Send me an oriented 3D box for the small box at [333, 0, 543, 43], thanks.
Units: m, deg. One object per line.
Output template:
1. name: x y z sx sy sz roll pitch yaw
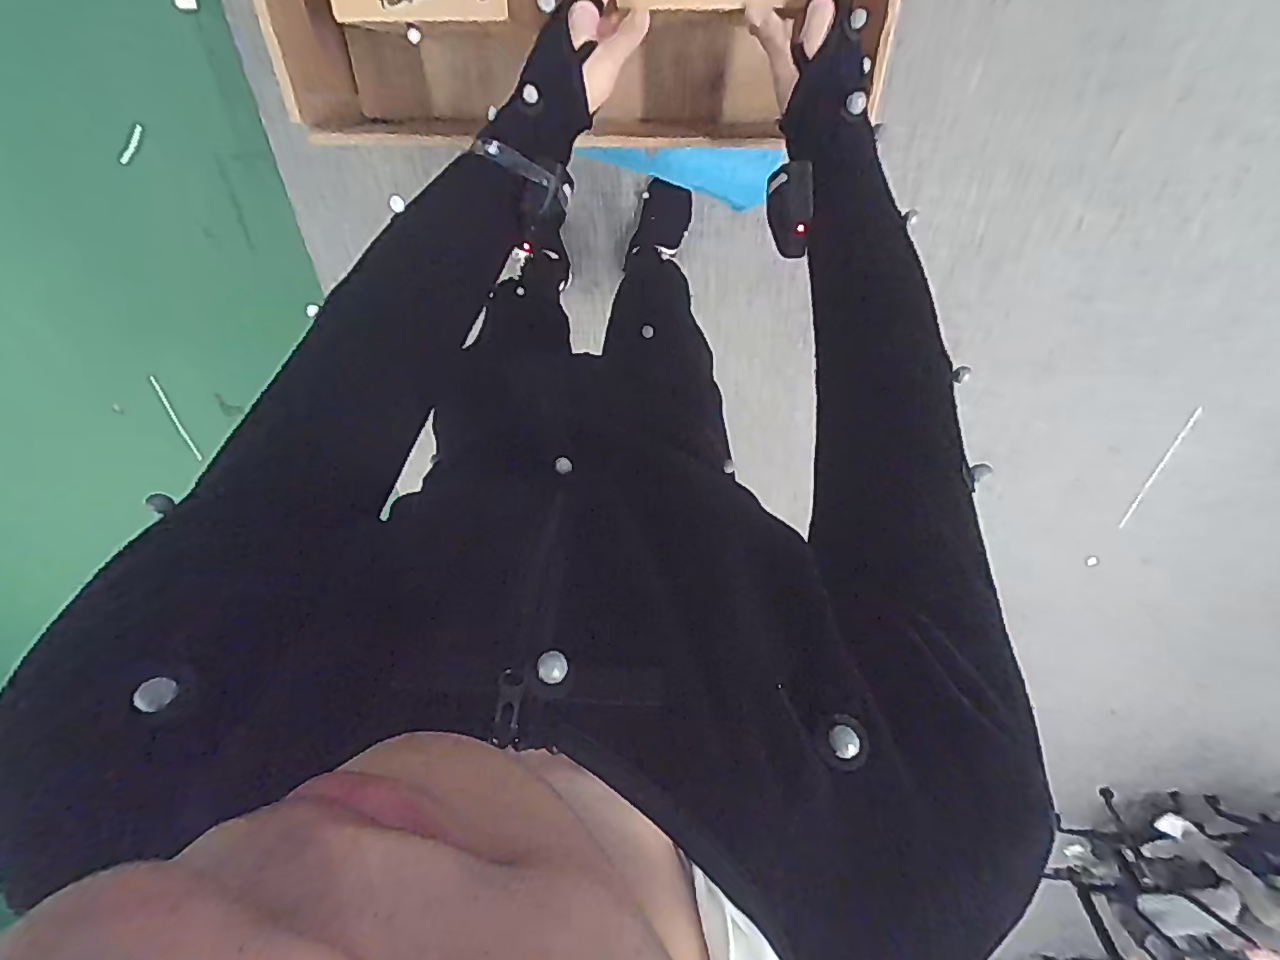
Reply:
1. small box: -0.194 -0.539 0.516 0.168 0.176 0.179 2 125 2
